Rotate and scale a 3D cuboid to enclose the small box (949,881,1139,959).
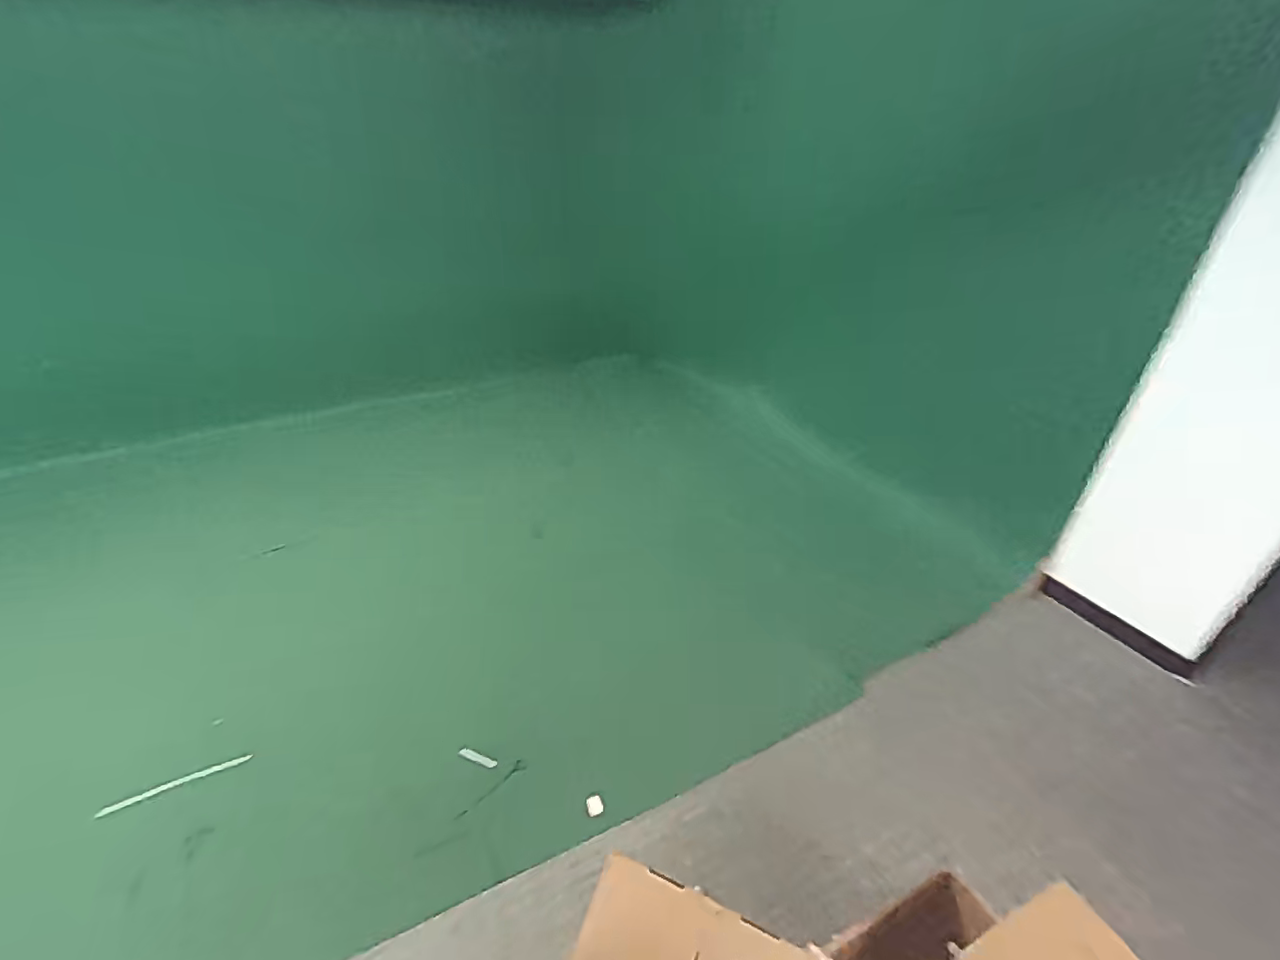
[{"bbox_3d":[0.444,0.588,0.579,0.179,0.176,0.168,-14,37,-19],"label":"small box"}]
